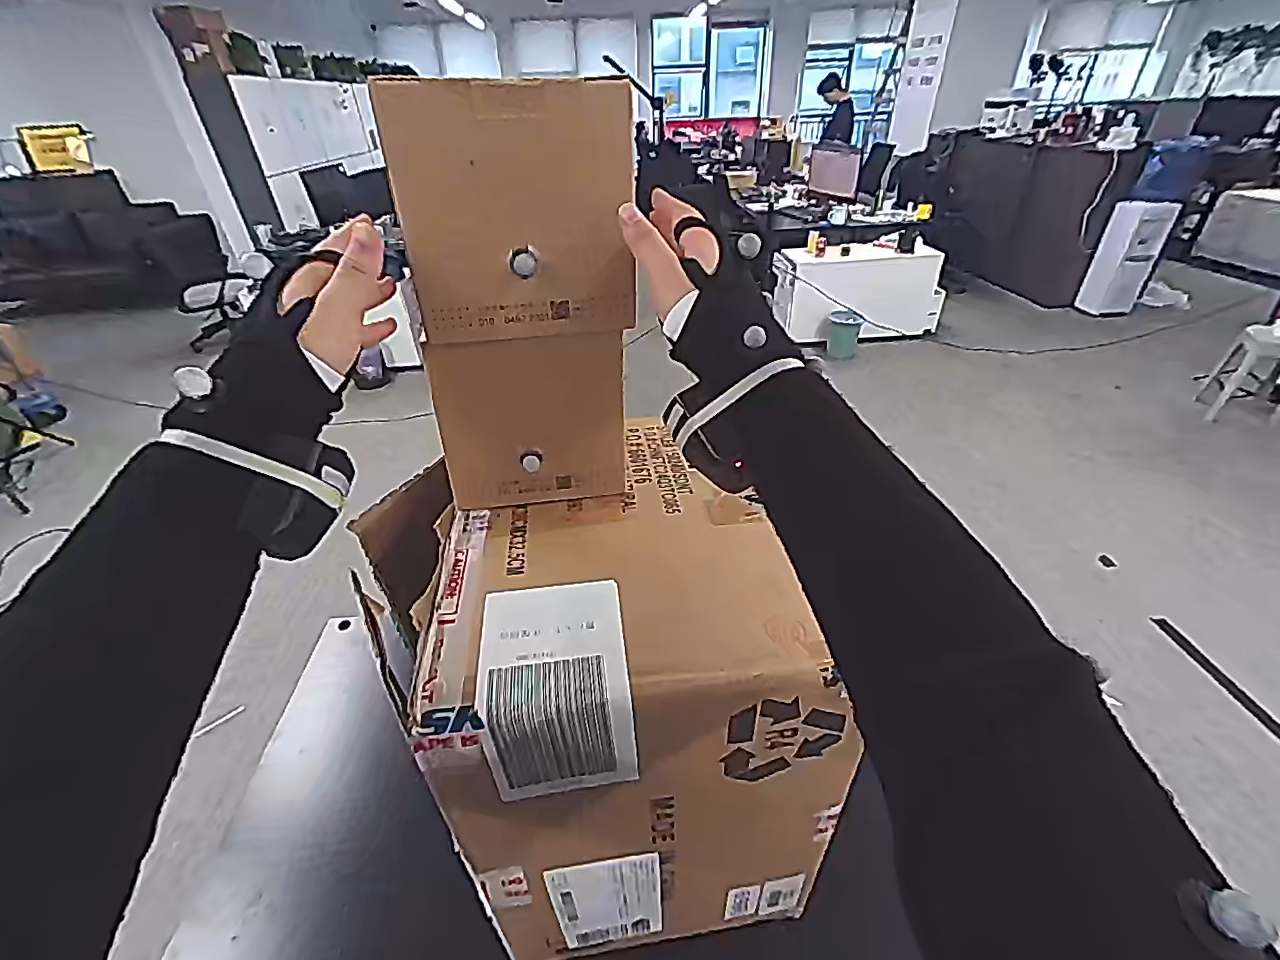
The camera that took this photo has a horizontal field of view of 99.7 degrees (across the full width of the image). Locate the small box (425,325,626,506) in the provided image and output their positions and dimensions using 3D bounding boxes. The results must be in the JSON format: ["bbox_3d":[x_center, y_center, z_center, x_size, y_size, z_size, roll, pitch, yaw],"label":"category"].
[{"bbox_3d":[-0.106,-0.093,0.558,0.168,0.176,0.179,-6,34,-8],"label":"small box"}]

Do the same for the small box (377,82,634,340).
[{"bbox_3d":[-0.100,-0.228,0.461,0.168,0.176,0.179,-7,34,-9],"label":"small box"}]
